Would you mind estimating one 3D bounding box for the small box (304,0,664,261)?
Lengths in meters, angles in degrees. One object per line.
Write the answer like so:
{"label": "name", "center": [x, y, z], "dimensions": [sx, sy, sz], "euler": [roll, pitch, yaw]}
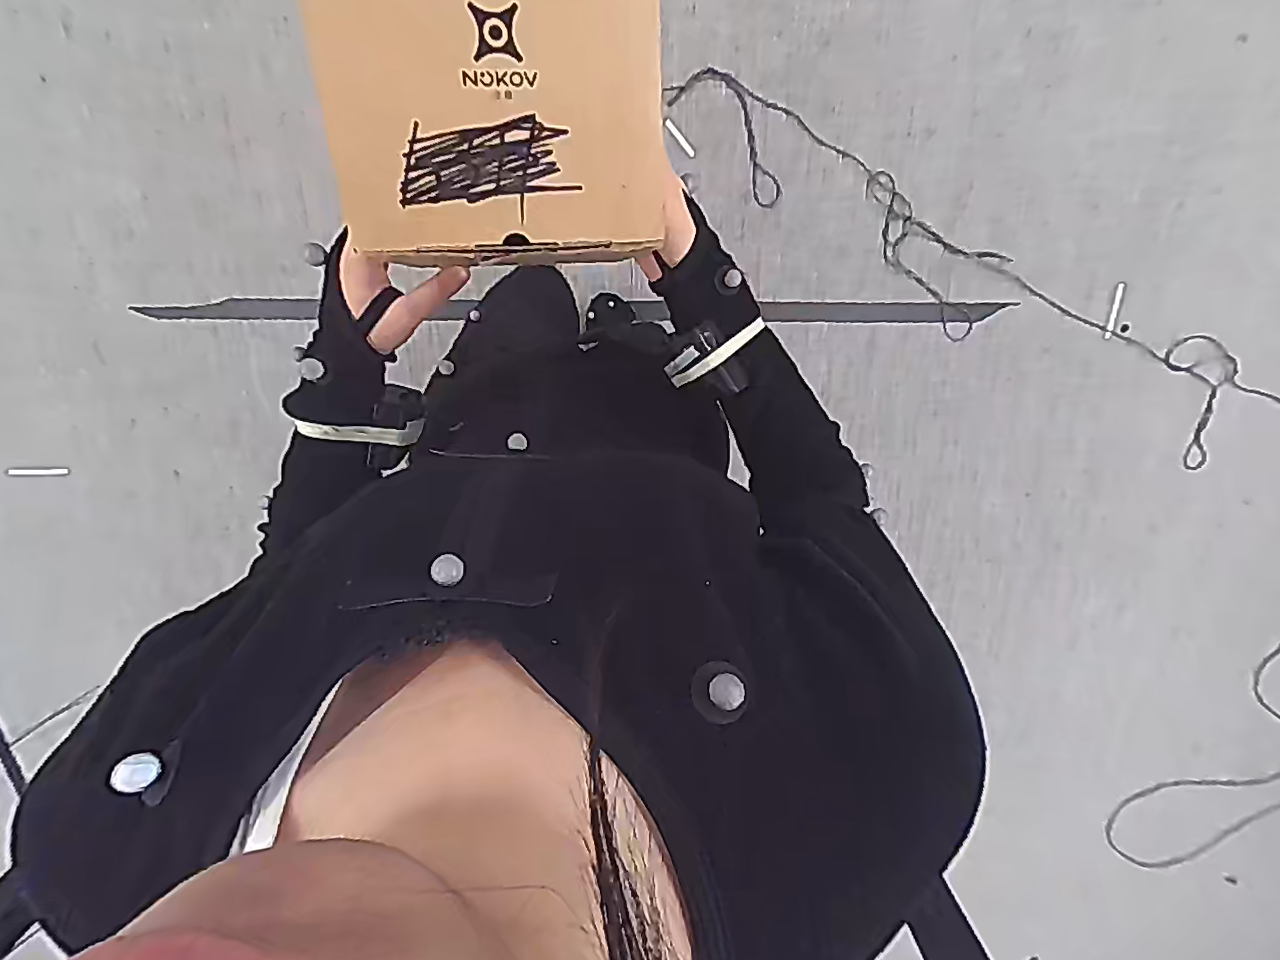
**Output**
{"label": "small box", "center": [-0.083, -0.232, 0.331], "dimensions": [0.168, 0.176, 0.179], "euler": [-6, 109, -10]}
